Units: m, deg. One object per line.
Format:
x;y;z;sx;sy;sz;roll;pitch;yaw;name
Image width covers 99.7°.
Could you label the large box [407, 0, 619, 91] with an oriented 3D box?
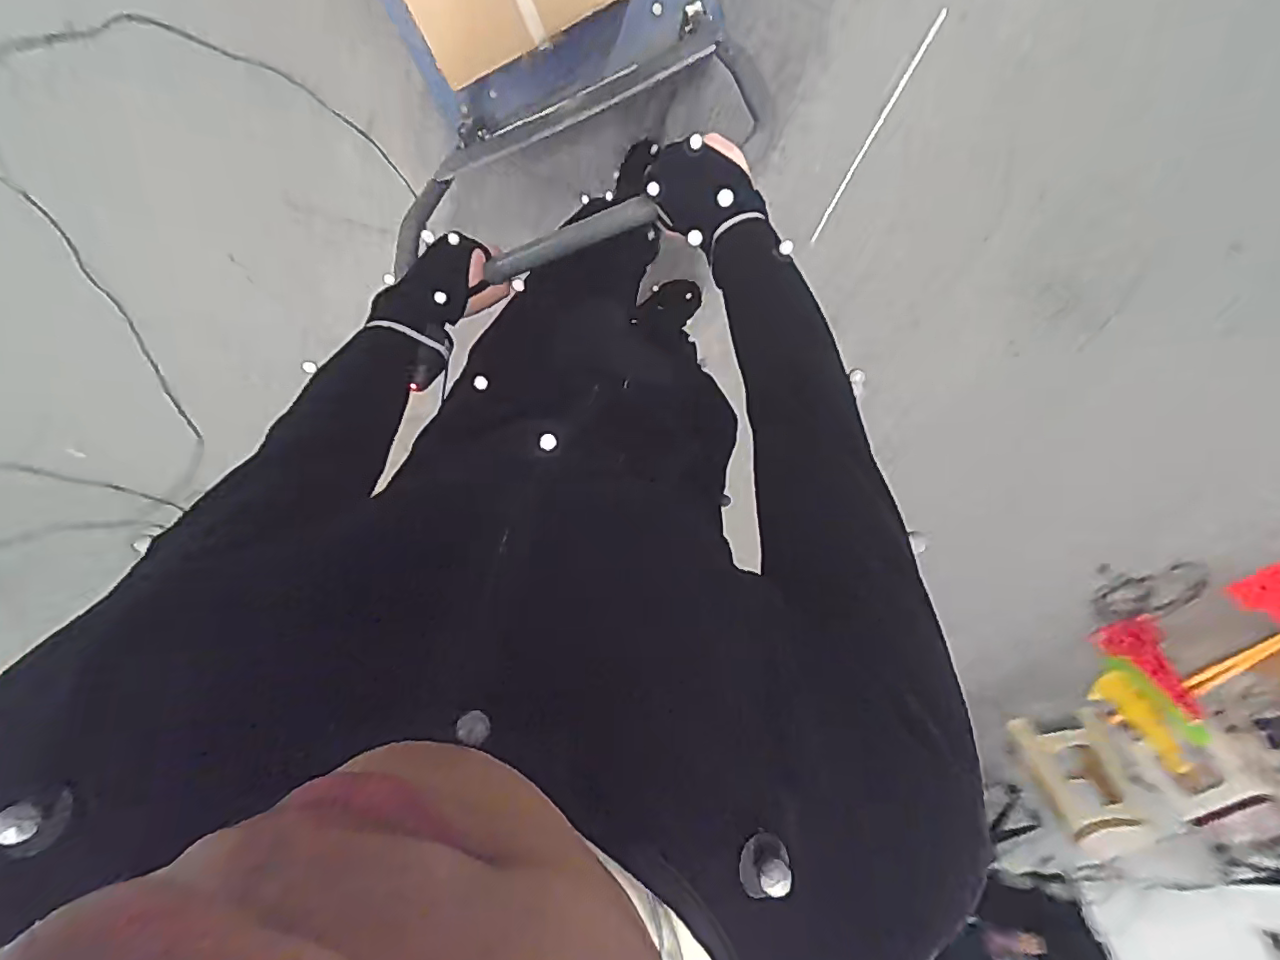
-0.219;-0.881;0.789;0.320;0.320;0.408;-18;130;15;large box
